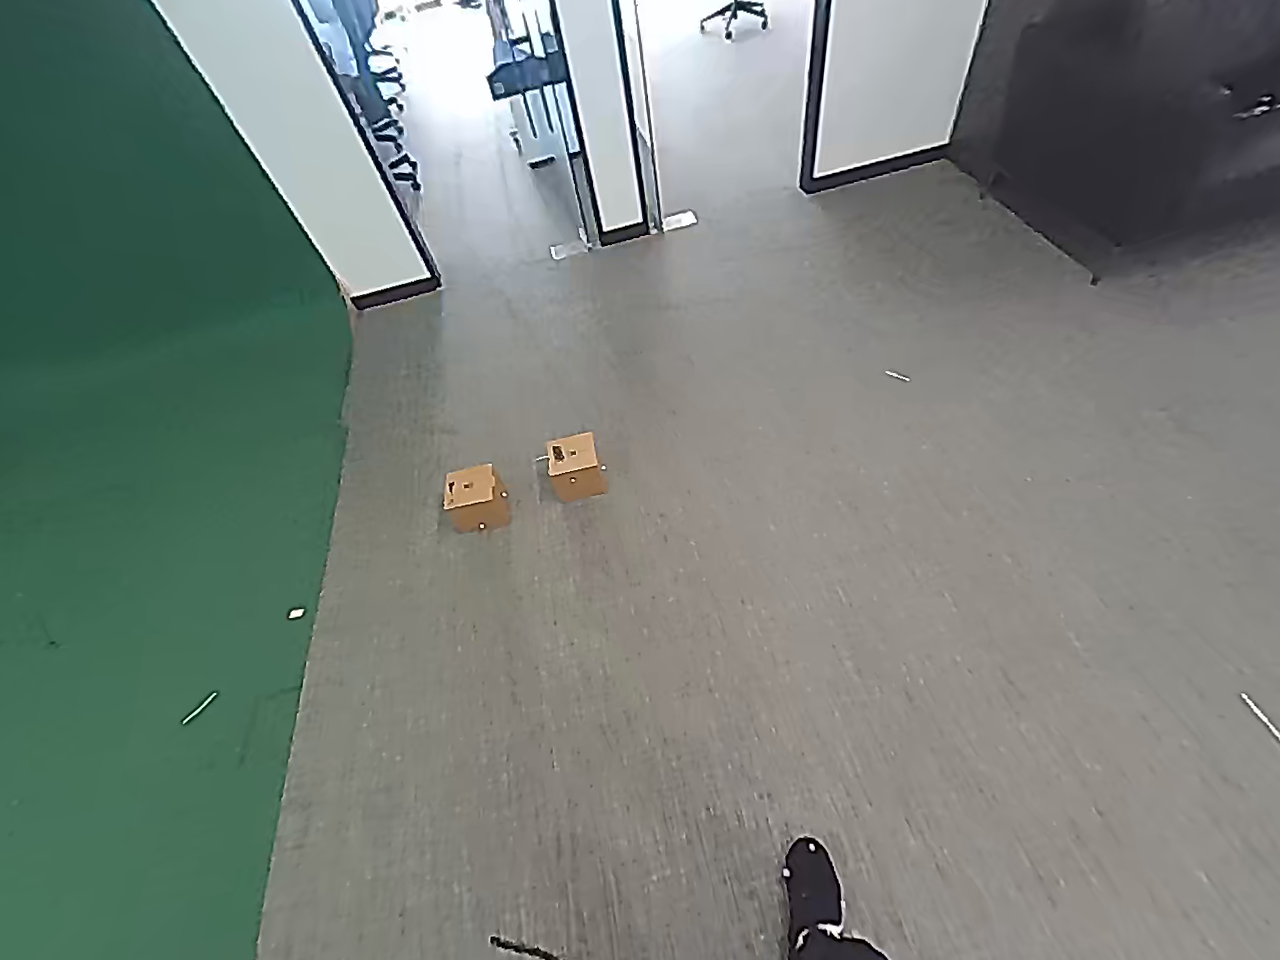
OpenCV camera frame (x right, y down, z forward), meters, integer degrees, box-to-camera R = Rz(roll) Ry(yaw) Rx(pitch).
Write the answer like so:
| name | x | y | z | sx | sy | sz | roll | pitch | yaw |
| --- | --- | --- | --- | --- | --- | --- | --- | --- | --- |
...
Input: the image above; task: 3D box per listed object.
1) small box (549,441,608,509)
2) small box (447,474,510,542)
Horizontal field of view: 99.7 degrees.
| name | x | y | z | sx | sy | sz | roll | pitch | yaw |
| --- | --- | --- | --- | --- | --- | --- | --- | --- | --- |
| small box | -0.226 | -0.014 | 1.988 | 0.179 | 0.176 | 0.168 | -12 | 52 | 0 |
| small box | -0.581 | 0.103 | 1.966 | 0.179 | 0.176 | 0.168 | -11 | 51 | 1 |
